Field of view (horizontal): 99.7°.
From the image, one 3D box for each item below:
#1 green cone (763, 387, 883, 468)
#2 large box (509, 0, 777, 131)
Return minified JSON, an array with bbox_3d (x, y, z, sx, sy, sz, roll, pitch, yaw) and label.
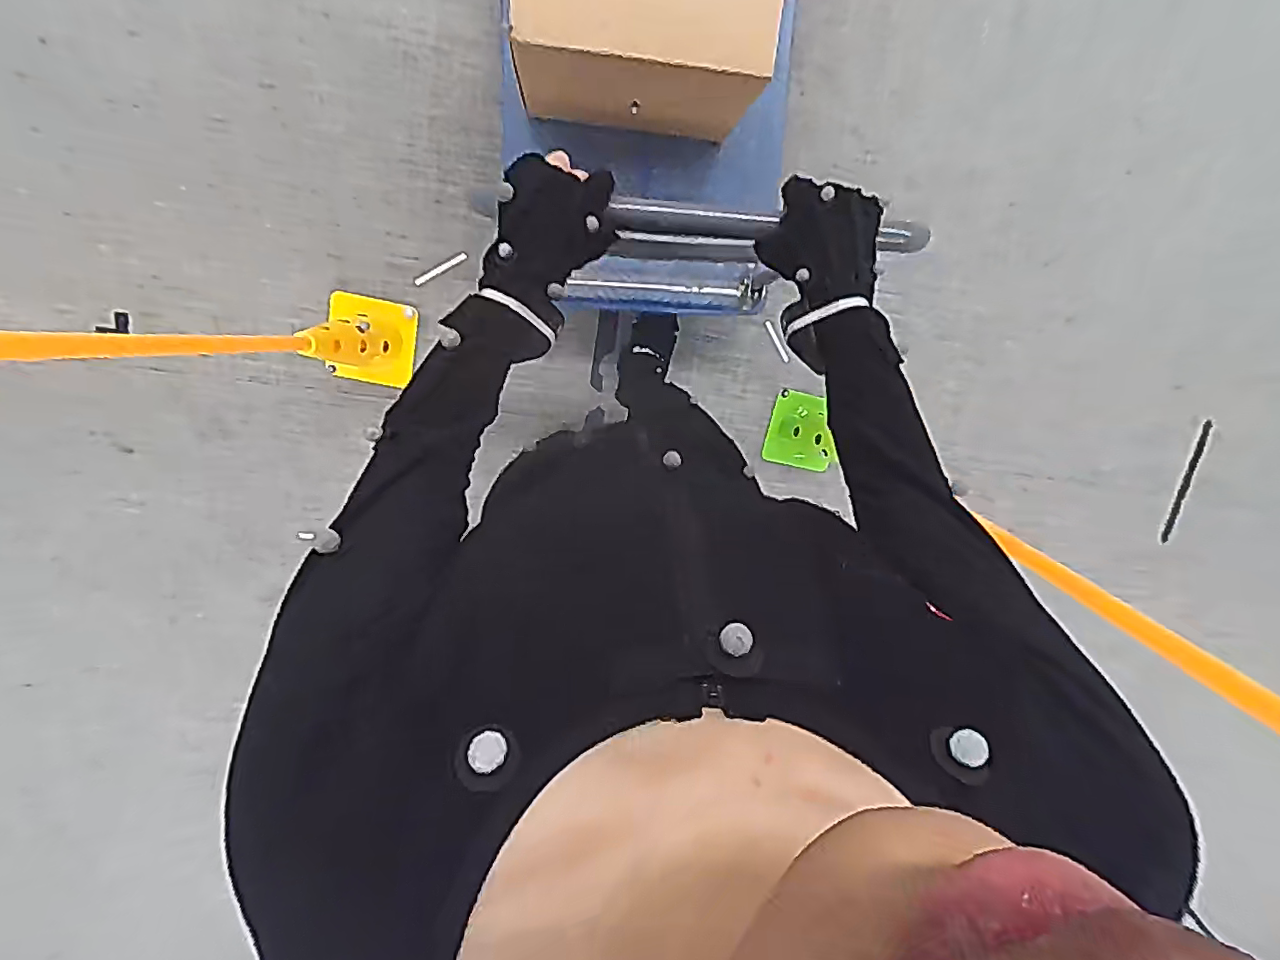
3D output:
[{"bbox_3d":[0.472,-0.098,1.322,0.202,0.368,0.200,11,104,-11],"label":"green cone"},{"bbox_3d":[0.002,-0.830,0.919,0.408,0.320,0.320,3,105,-7],"label":"large box"}]
